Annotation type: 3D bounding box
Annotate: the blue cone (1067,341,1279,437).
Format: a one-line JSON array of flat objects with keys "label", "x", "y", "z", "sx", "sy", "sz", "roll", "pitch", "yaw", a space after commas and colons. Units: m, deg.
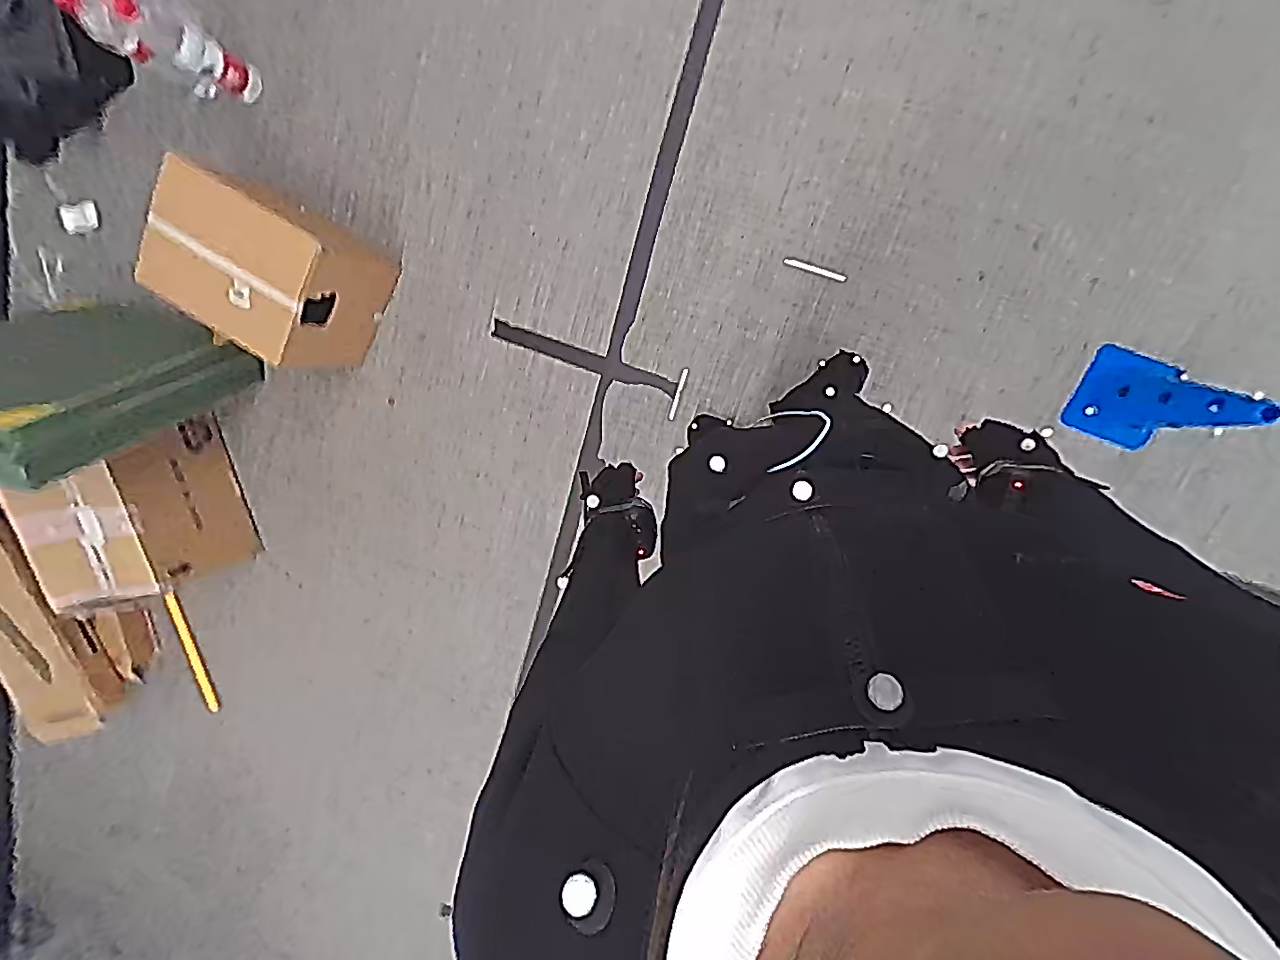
[{"label": "blue cone", "x": 1.083, "y": -0.173, "z": 1.084, "sx": 0.193, "sy": 0.380, "sz": 0.192, "roll": 23, "pitch": 104, "yaw": 4}]
